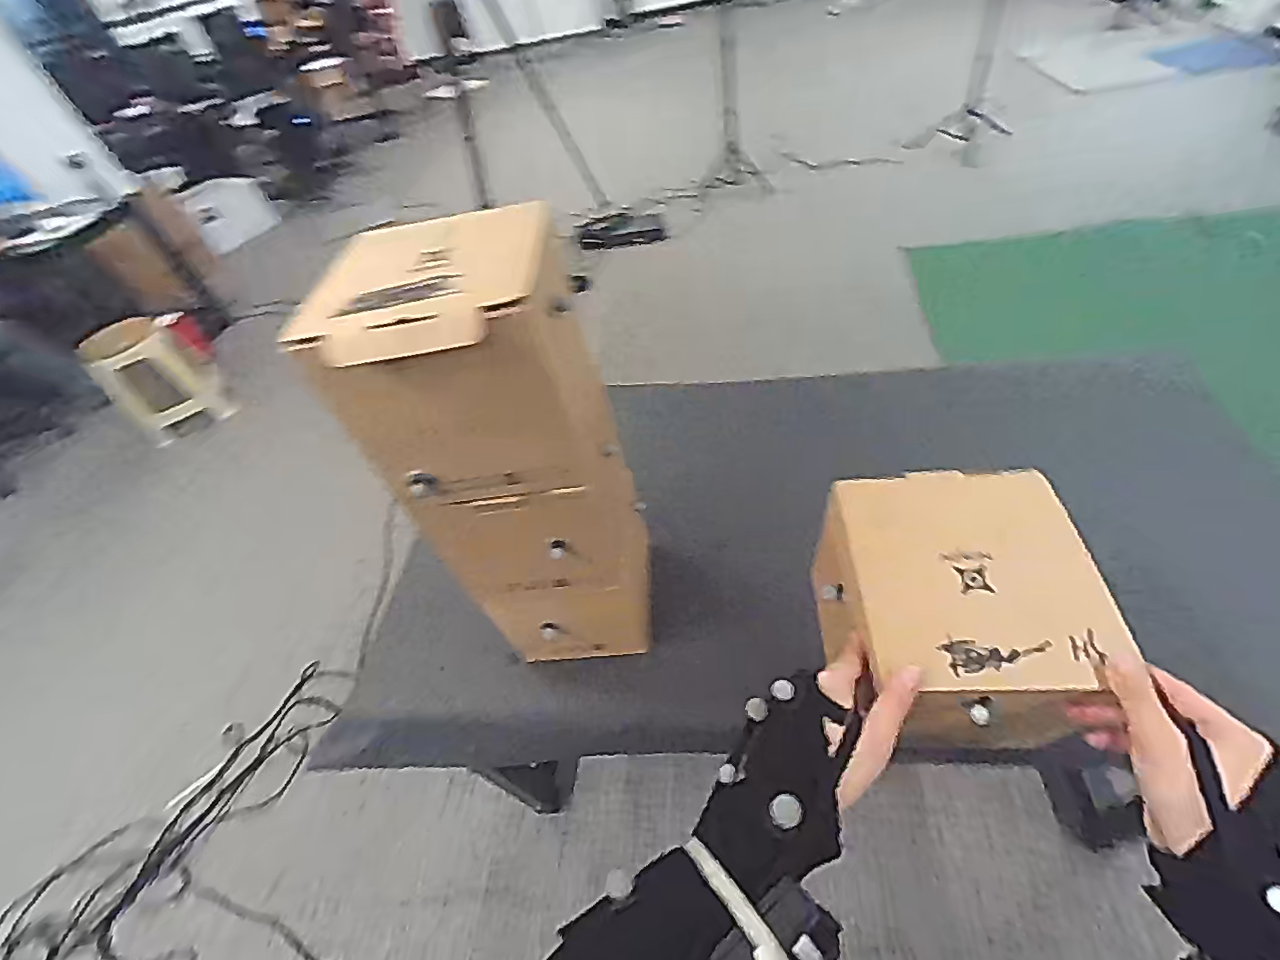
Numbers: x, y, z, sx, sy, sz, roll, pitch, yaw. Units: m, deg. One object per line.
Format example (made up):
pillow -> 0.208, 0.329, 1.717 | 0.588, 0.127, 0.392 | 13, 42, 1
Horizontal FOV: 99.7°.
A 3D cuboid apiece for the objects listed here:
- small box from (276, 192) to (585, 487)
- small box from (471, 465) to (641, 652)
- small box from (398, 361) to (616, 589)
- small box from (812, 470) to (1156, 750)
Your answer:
small box -> -0.144, -0.108, 0.451 | 0.168, 0.176, 0.179 | -7, 47, 4
small box -> -0.092, 0.107, 0.692 | 0.168, 0.176, 0.179 | -6, 47, 7
small box -> -0.119, 0.002, 0.571 | 0.168, 0.176, 0.179 | -6, 46, 5
small box -> 0.249, 0.112, 0.455 | 0.168, 0.176, 0.179 | -3, 52, 6
